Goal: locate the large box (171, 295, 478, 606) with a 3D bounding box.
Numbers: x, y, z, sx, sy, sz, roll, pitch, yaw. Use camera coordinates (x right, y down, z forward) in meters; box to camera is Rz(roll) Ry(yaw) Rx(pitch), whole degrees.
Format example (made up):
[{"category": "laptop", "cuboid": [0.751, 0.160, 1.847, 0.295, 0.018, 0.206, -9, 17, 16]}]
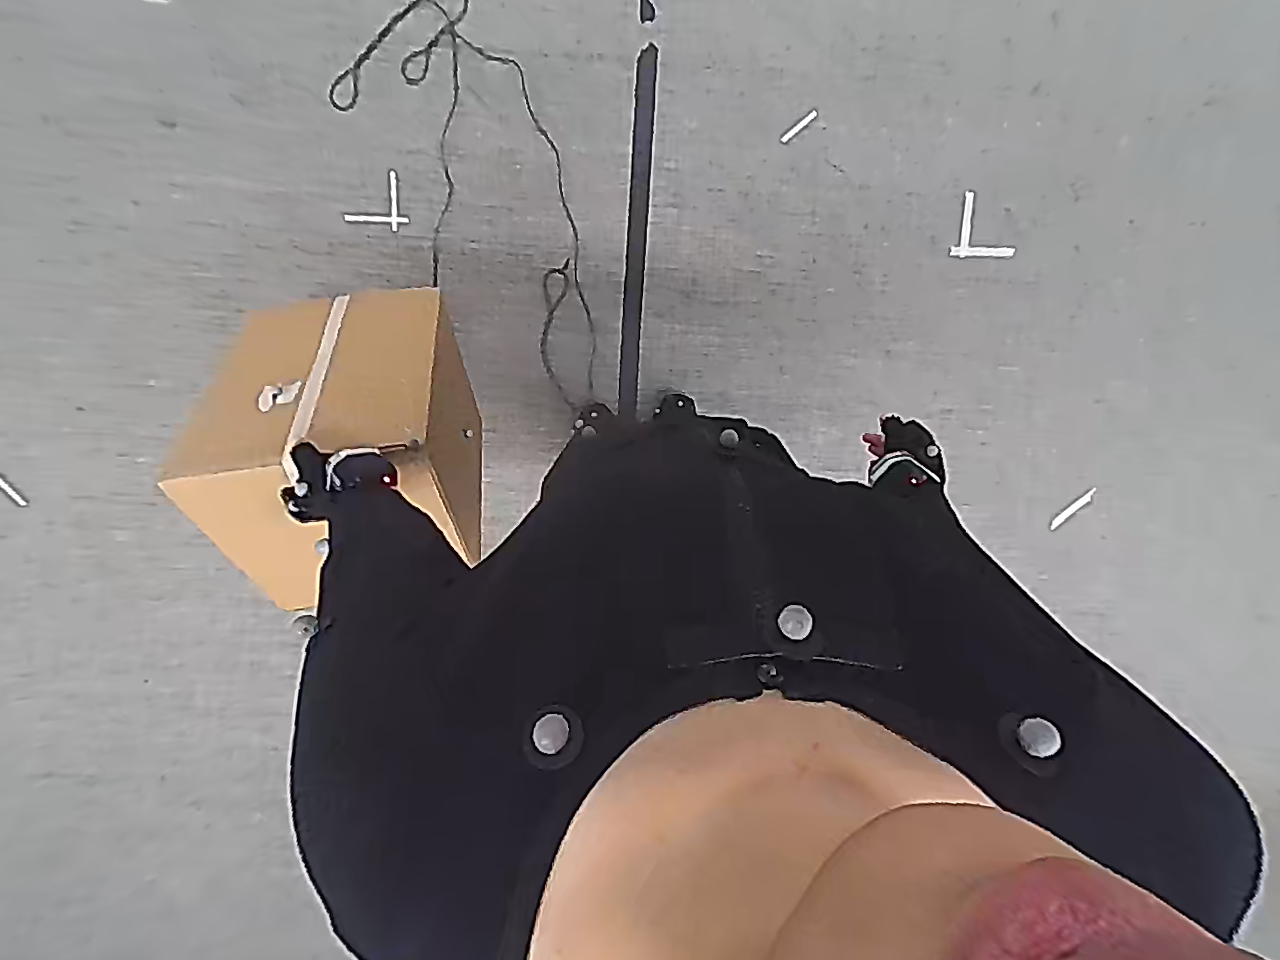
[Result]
[{"category": "large box", "cuboid": [-0.461, -0.060, 0.910, 0.320, 0.408, 0.320, -10, 138, -7]}]
